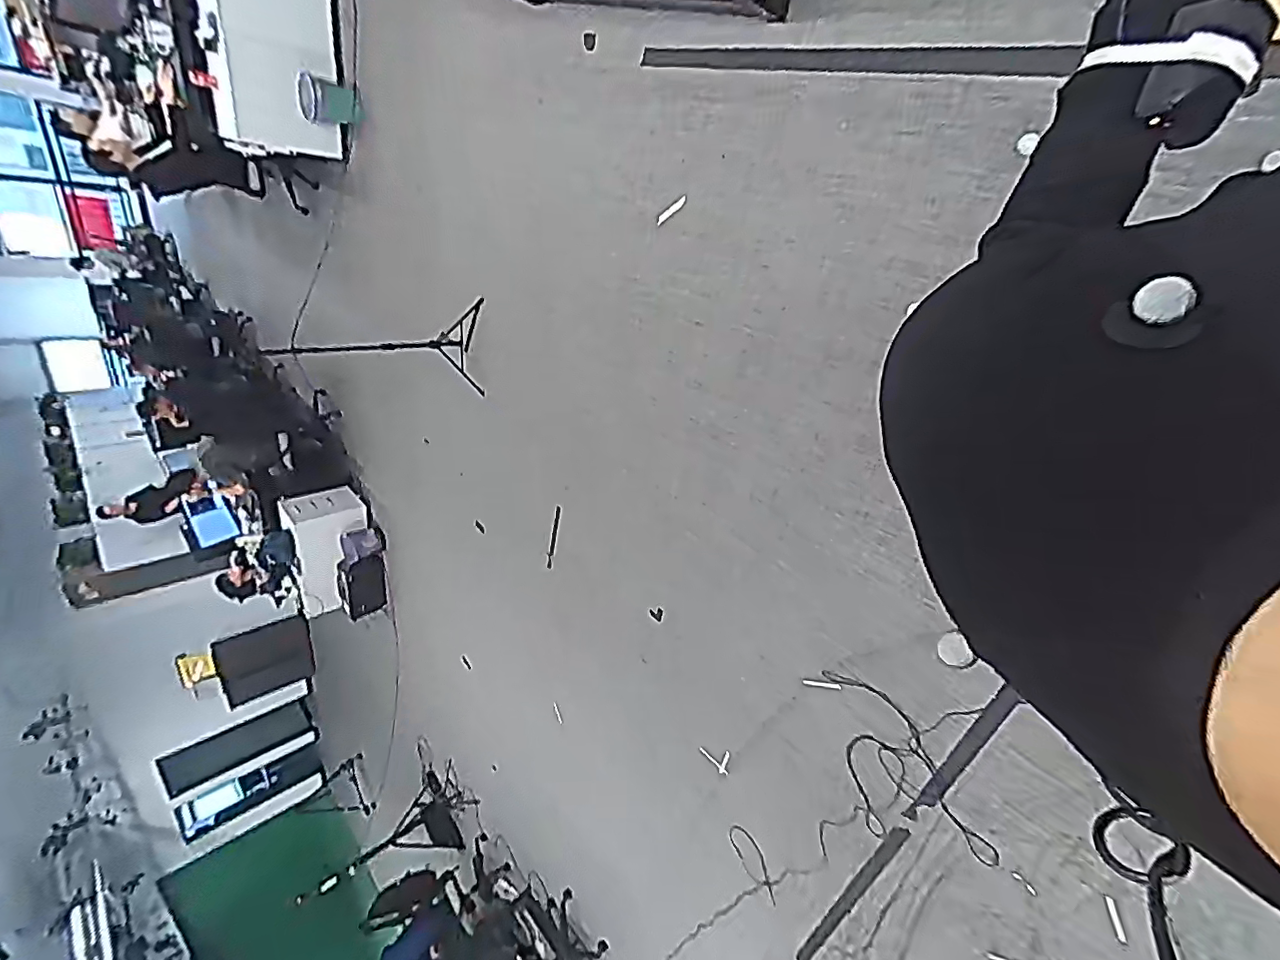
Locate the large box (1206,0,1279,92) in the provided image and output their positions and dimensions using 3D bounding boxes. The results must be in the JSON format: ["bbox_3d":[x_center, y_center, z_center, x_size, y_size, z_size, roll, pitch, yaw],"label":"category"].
[{"bbox_3d":[0.628,-0.393,0.267,0.408,0.320,0.320,29,133,34],"label":"large box"}]
